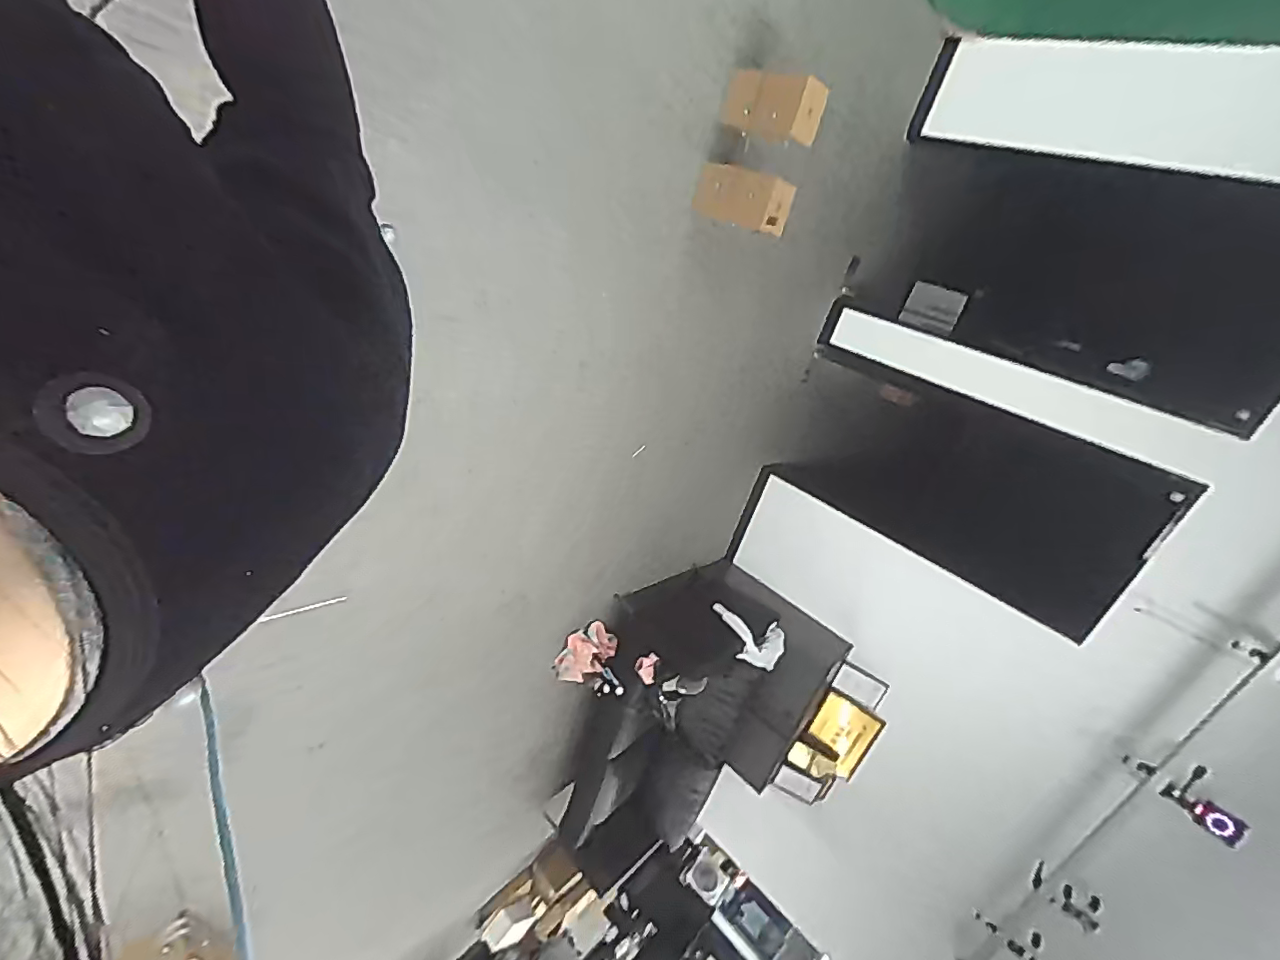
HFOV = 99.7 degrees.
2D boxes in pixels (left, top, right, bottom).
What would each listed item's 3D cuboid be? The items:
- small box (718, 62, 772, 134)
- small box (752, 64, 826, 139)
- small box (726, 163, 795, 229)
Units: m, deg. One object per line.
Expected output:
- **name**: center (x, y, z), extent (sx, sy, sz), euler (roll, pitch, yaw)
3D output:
- **small box**: center (0.408, -1.405, 1.989), extent (0.168, 0.176, 0.179), euler (-15, 128, -46)
- **small box**: center (0.515, -1.326, 1.894), extent (0.168, 0.176, 0.179), euler (-15, 127, -46)
- **small box**: center (0.446, -1.062, 2.023), extent (0.168, 0.176, 0.179), euler (-14, 127, -47)
